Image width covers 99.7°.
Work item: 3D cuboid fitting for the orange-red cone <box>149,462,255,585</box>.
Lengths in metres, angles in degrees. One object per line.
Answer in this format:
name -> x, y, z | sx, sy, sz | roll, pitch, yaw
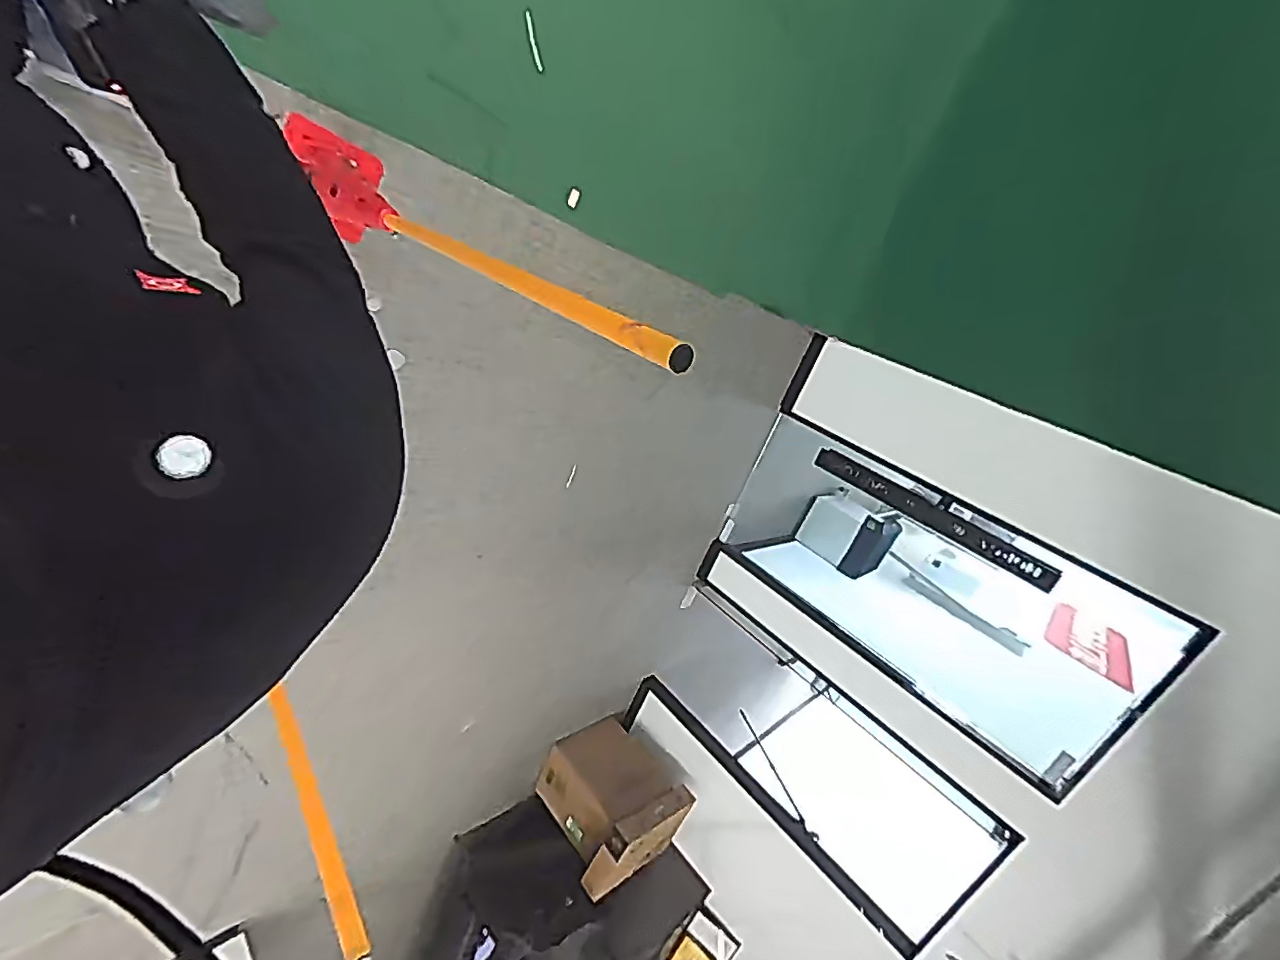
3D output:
orange-red cone -> -0.991, 0.127, 1.263 | 0.199, 0.360, 0.198 | 1, 118, -48
